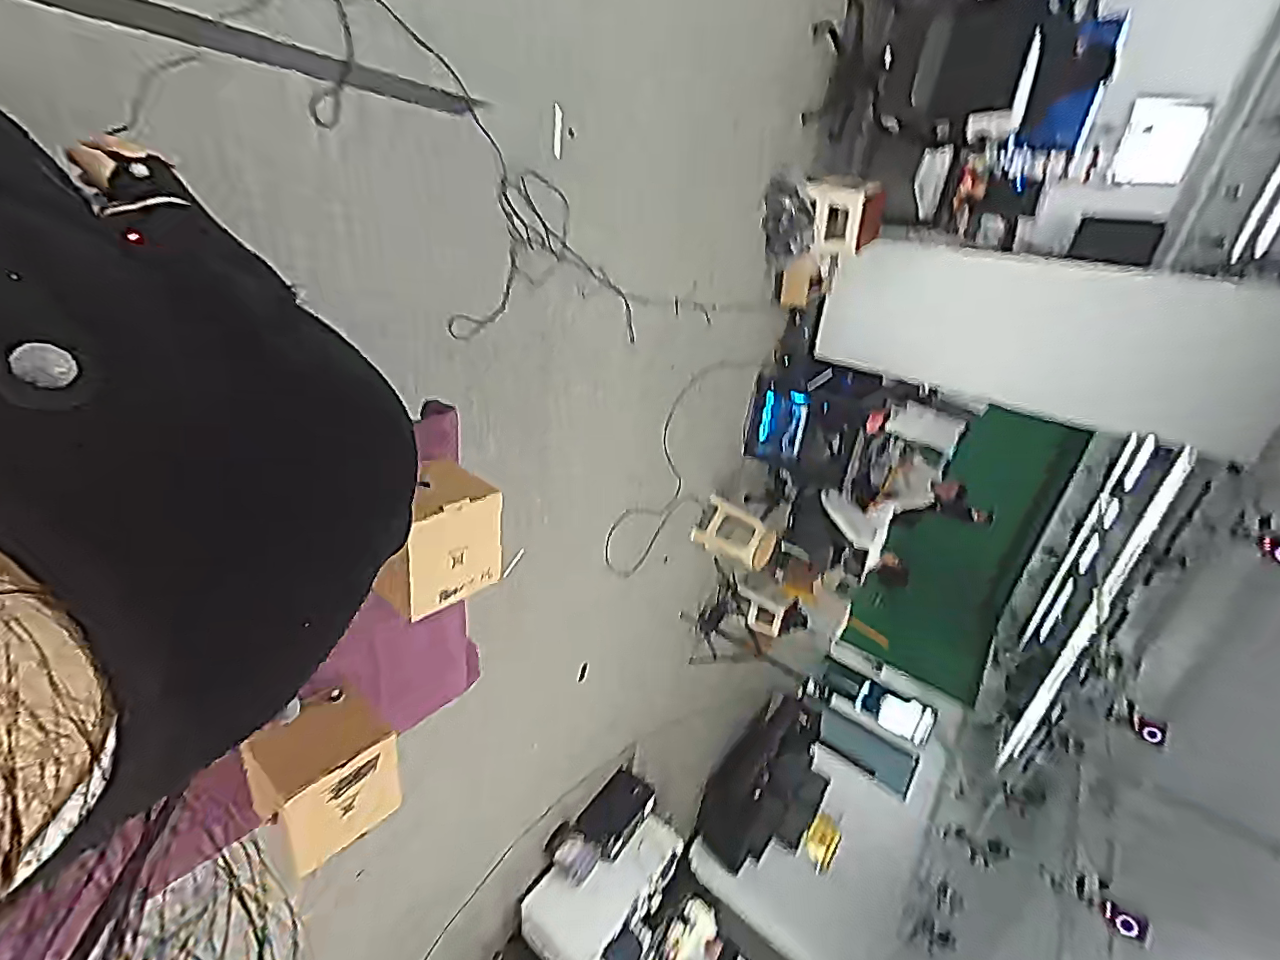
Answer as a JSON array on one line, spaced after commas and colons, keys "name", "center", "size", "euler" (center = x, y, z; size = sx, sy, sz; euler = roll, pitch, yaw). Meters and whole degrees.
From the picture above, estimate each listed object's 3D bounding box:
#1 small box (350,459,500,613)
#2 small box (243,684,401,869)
[{"name": "small box", "center": [-0.347, 0.077, 0.877], "size": [0.168, 0.176, 0.179], "euler": [-23, 128, -47]}, {"name": "small box", "center": [-0.517, 0.466, 0.885], "size": [0.168, 0.176, 0.179], "euler": [-22, 127, -48]}]
